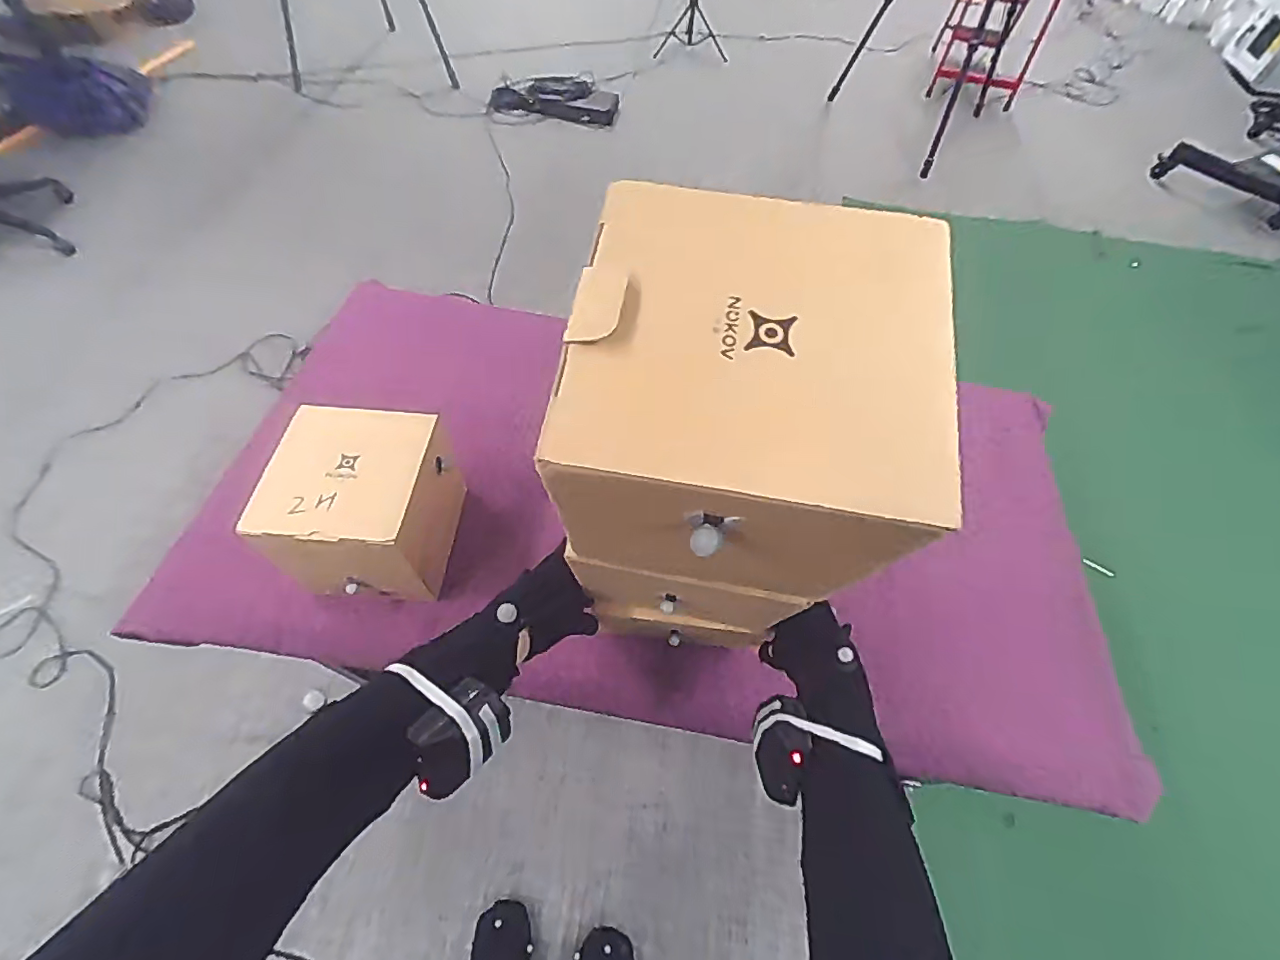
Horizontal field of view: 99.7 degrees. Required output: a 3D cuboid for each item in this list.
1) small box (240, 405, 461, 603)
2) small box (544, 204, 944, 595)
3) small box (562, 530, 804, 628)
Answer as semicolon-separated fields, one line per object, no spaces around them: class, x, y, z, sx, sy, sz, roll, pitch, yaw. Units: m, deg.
small box;-0.332;0.034;0.669;0.168;0.176;0.179;5;57;-1
small box;0.057;-0.032;0.335;0.179;0.176;0.168;10;69;4
small box;0.045;0.030;0.484;0.179;0.176;0.168;11;68;5
